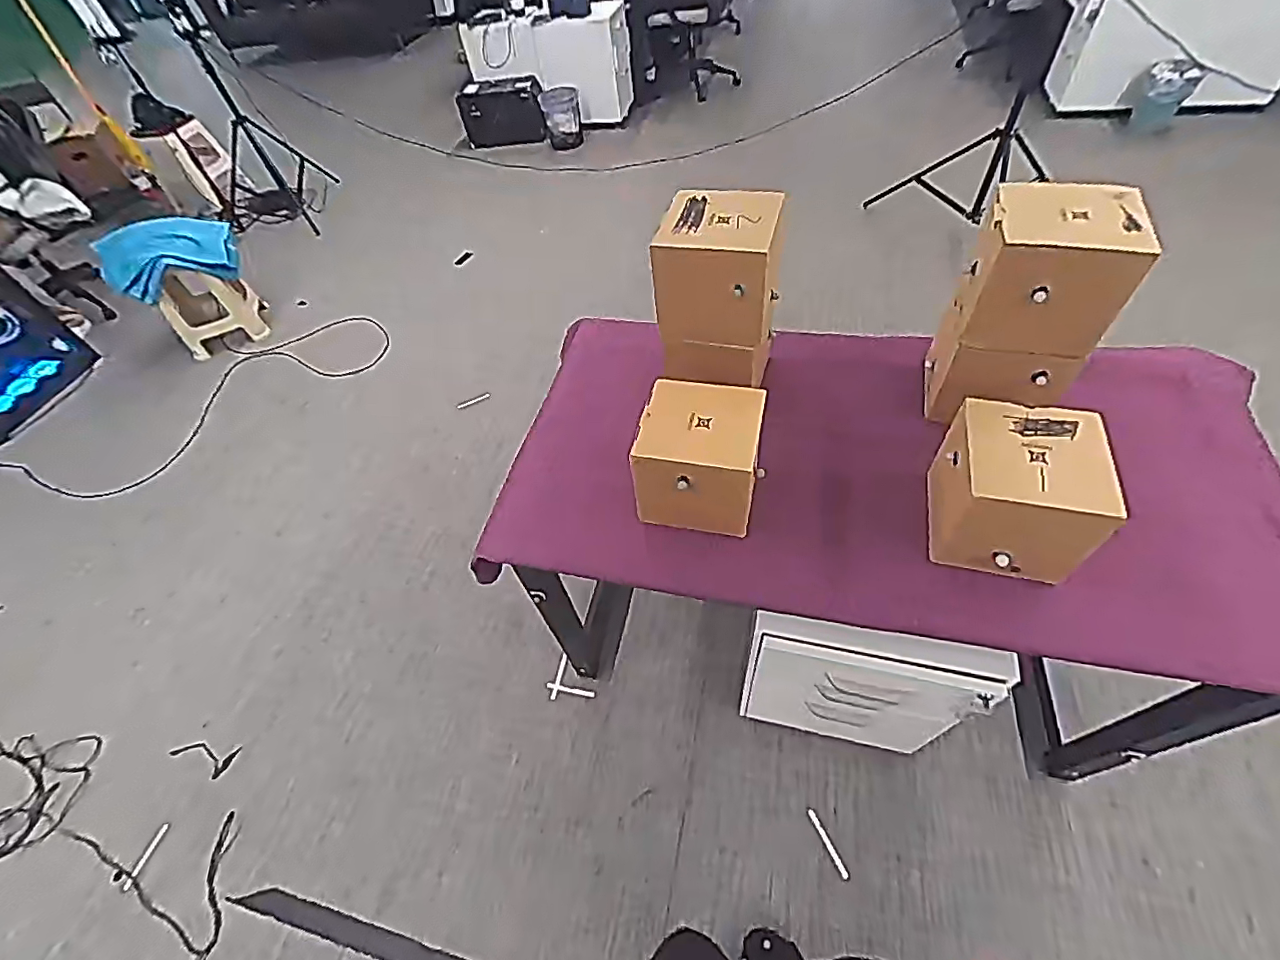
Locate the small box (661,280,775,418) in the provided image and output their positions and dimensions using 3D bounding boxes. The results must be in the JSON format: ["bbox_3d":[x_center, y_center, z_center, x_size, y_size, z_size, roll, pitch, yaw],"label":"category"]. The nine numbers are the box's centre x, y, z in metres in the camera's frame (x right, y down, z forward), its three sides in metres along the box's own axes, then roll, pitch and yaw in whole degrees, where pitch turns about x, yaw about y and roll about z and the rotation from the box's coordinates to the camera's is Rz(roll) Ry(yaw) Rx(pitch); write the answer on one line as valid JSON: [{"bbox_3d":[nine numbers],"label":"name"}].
[{"bbox_3d":[0.148,-0.245,1.009,0.168,0.176,0.179,11,57,17],"label":"small box"}]

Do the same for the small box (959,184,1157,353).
[{"bbox_3d":[0.582,-0.304,0.785,0.179,0.176,0.168,11,56,17],"label":"small box"}]

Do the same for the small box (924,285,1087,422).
[{"bbox_3d":[0.601,-0.204,0.914,0.179,0.176,0.168,10,55,15],"label":"small box"}]

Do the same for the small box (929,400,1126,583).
[{"bbox_3d":[0.517,0.016,0.756,0.168,0.176,0.179,9,54,15],"label":"small box"}]
